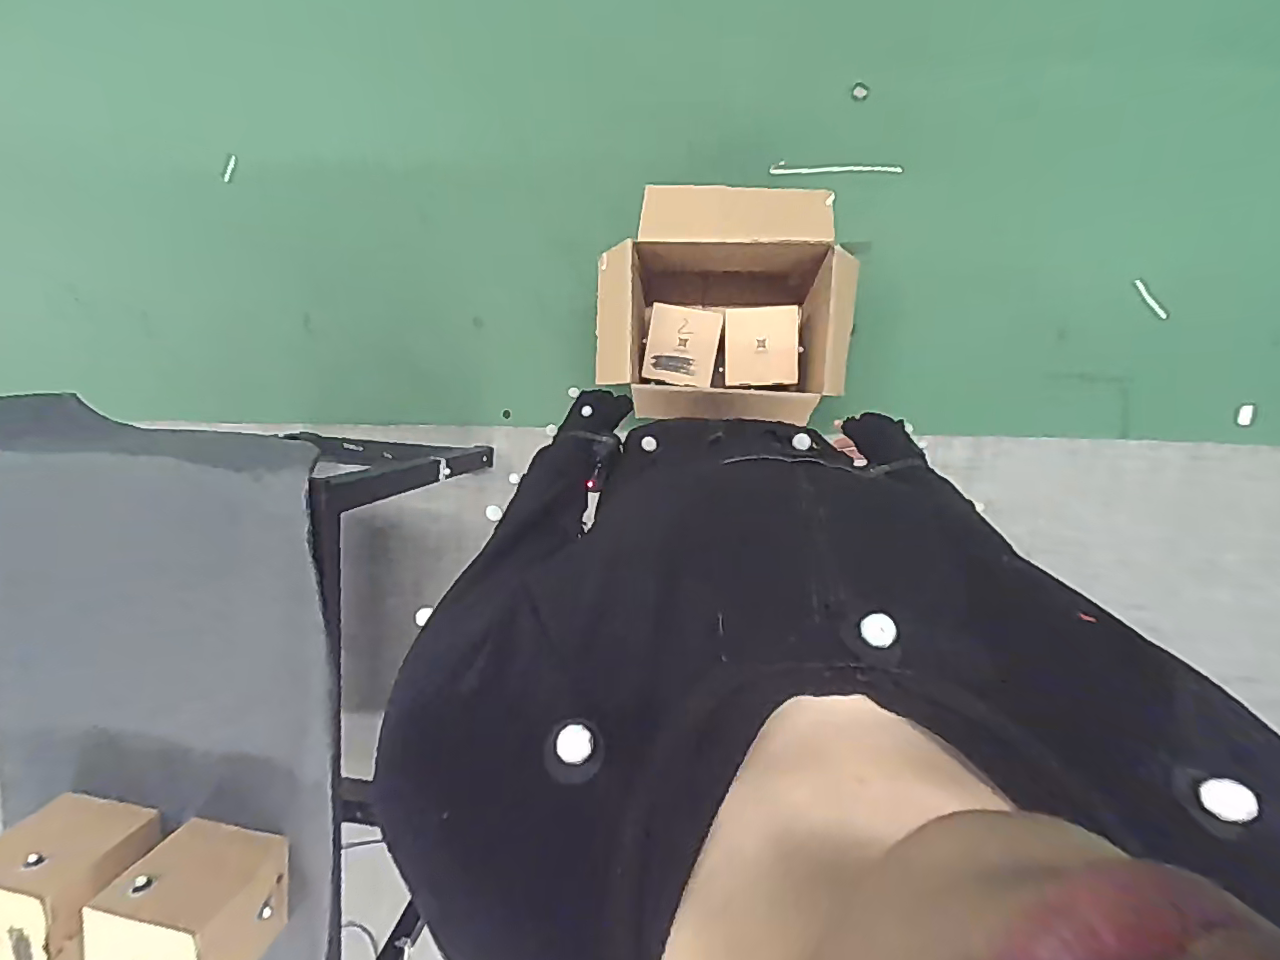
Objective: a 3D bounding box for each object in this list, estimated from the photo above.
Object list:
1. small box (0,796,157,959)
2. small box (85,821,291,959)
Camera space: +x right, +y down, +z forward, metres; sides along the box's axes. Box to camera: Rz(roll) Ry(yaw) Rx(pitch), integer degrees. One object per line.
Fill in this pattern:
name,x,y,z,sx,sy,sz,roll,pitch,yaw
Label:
small box,-0.901,0.627,0.839,0.179,0.176,0.168,8,99,4
small box,-0.675,0.659,0.821,0.179,0.176,0.168,7,99,5
